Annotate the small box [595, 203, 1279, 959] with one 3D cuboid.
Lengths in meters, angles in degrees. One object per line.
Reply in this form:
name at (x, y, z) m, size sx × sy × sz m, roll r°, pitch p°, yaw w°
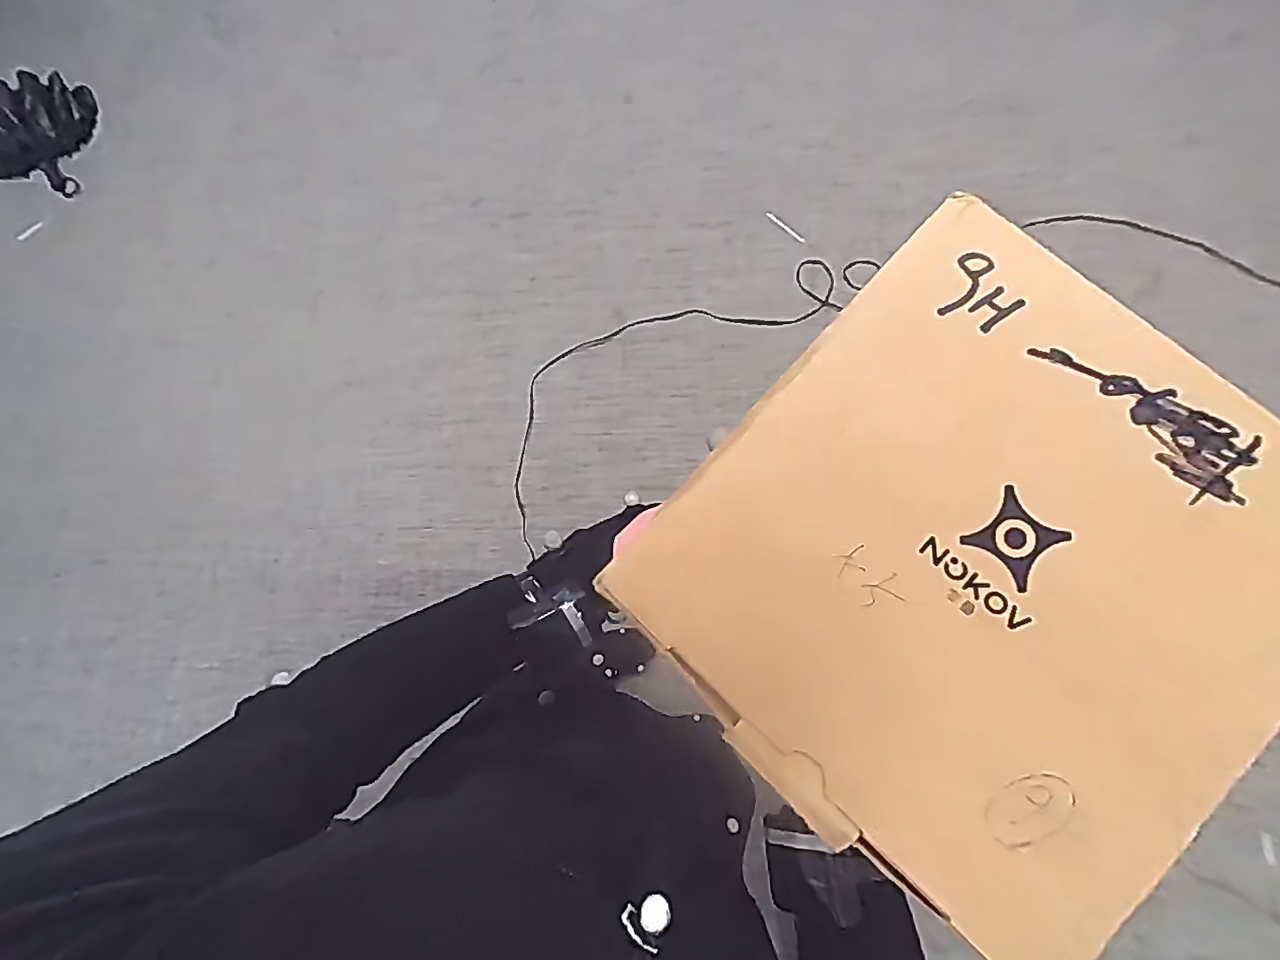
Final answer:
small box at (0.109, 0.037, 0.235) m, size 0.168 × 0.176 × 0.179 m, roll 43°, pitch 88°, yaw 9°
